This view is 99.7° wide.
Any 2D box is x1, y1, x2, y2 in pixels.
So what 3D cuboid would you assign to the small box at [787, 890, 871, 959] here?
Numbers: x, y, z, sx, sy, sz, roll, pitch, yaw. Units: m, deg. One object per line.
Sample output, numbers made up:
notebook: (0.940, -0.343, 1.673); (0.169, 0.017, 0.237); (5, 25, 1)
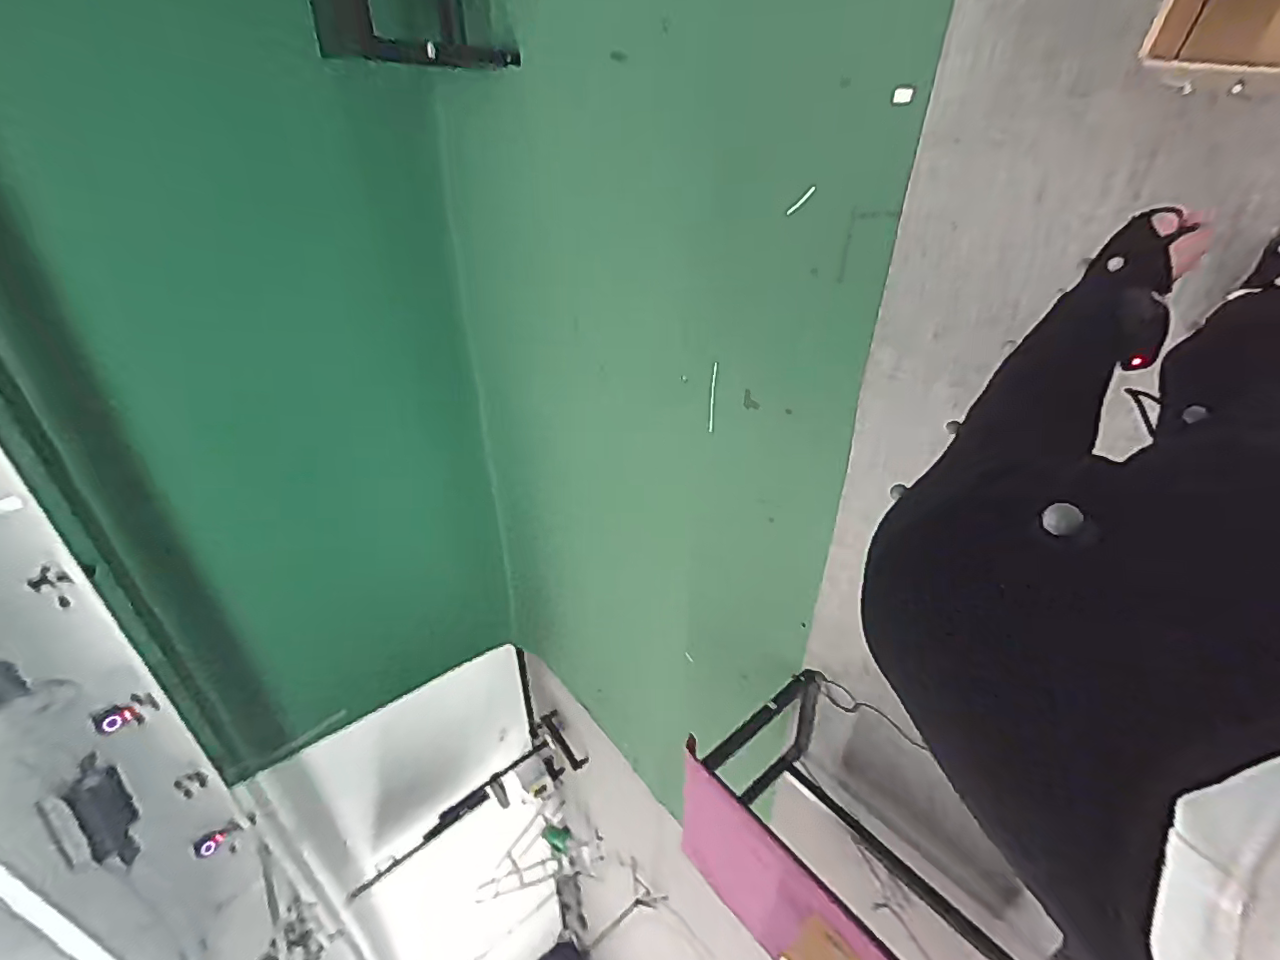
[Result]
small box: (0.566, 1.395, 1.622); (0.168, 0.176, 0.179); (31, 134, 42)
